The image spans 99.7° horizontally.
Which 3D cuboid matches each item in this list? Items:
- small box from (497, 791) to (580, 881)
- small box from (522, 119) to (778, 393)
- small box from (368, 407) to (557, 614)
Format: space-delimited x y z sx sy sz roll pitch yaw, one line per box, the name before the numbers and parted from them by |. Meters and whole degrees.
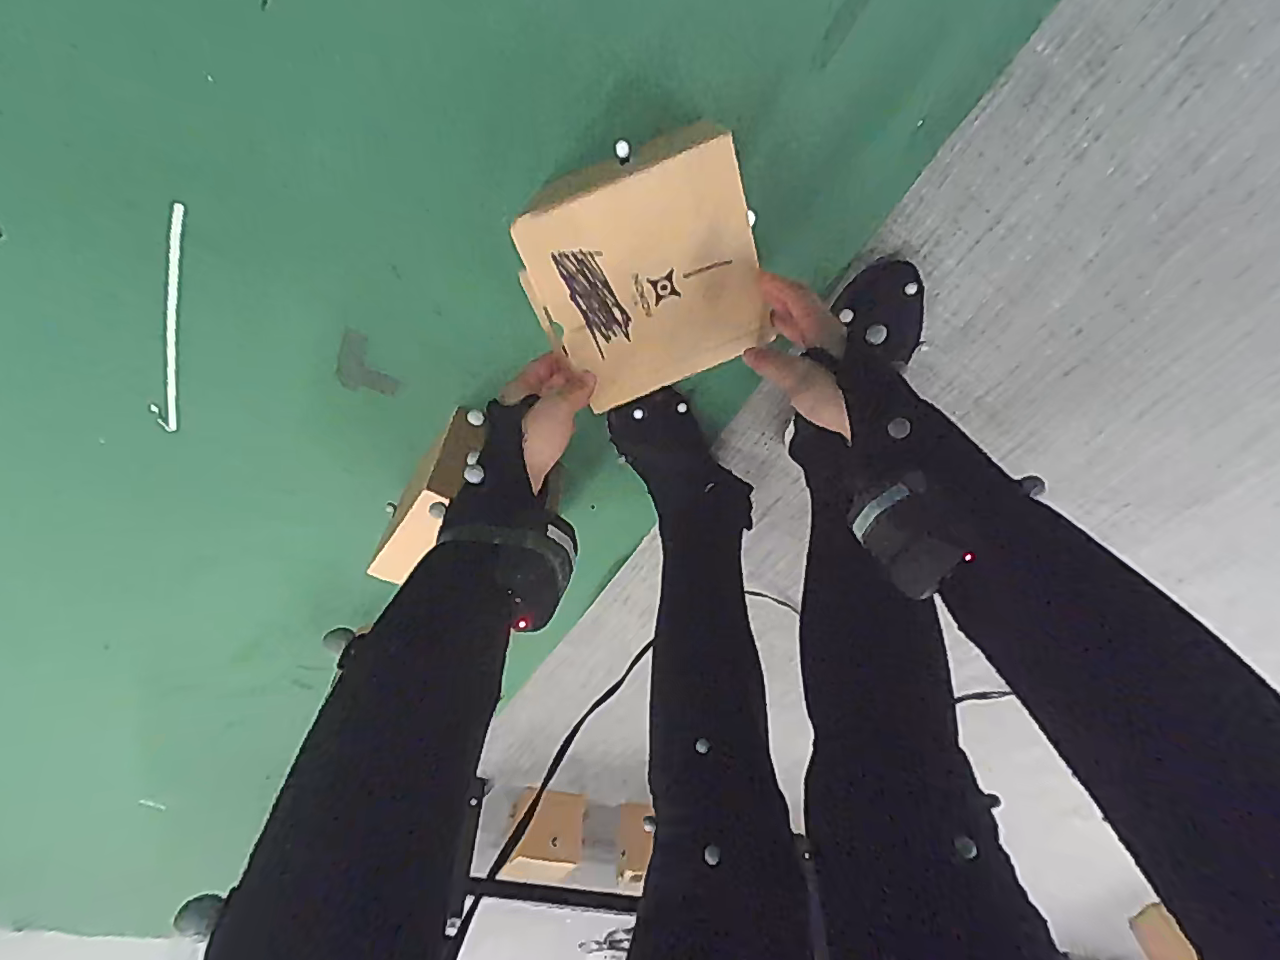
small box | -0.277 0.990 1.505 0.179 0.176 0.168 21 125 -18
small box | 0.014 -0.212 0.506 0.179 0.176 0.168 -17 127 10
small box | -0.220 0.040 0.713 0.168 0.176 0.179 29 122 -25
